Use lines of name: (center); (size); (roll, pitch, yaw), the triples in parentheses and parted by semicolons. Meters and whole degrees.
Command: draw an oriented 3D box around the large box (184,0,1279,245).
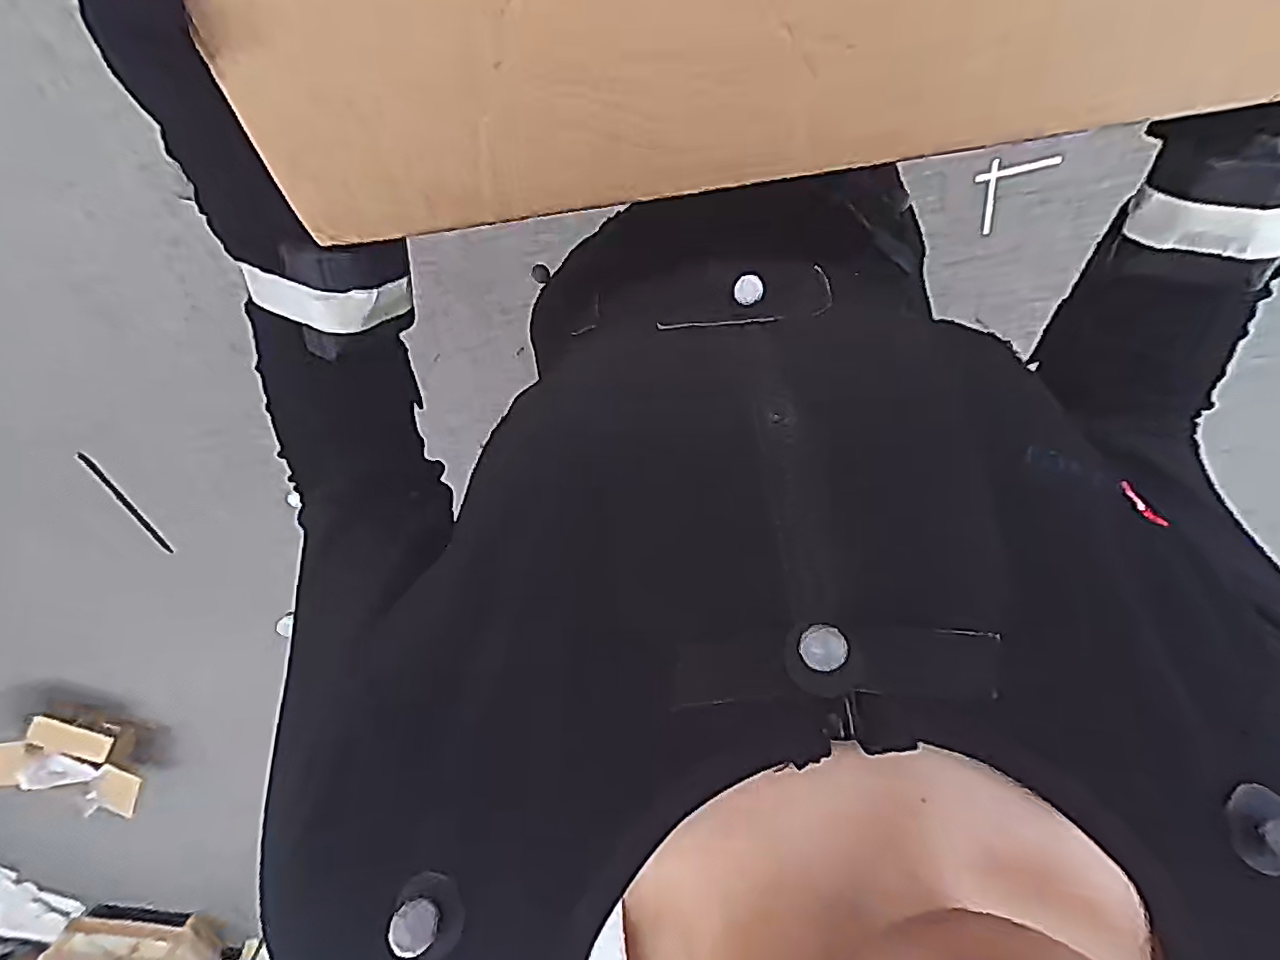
large box: (0.027, -0.344, 0.214); (0.408, 0.320, 0.320); (-6, 139, 5)
